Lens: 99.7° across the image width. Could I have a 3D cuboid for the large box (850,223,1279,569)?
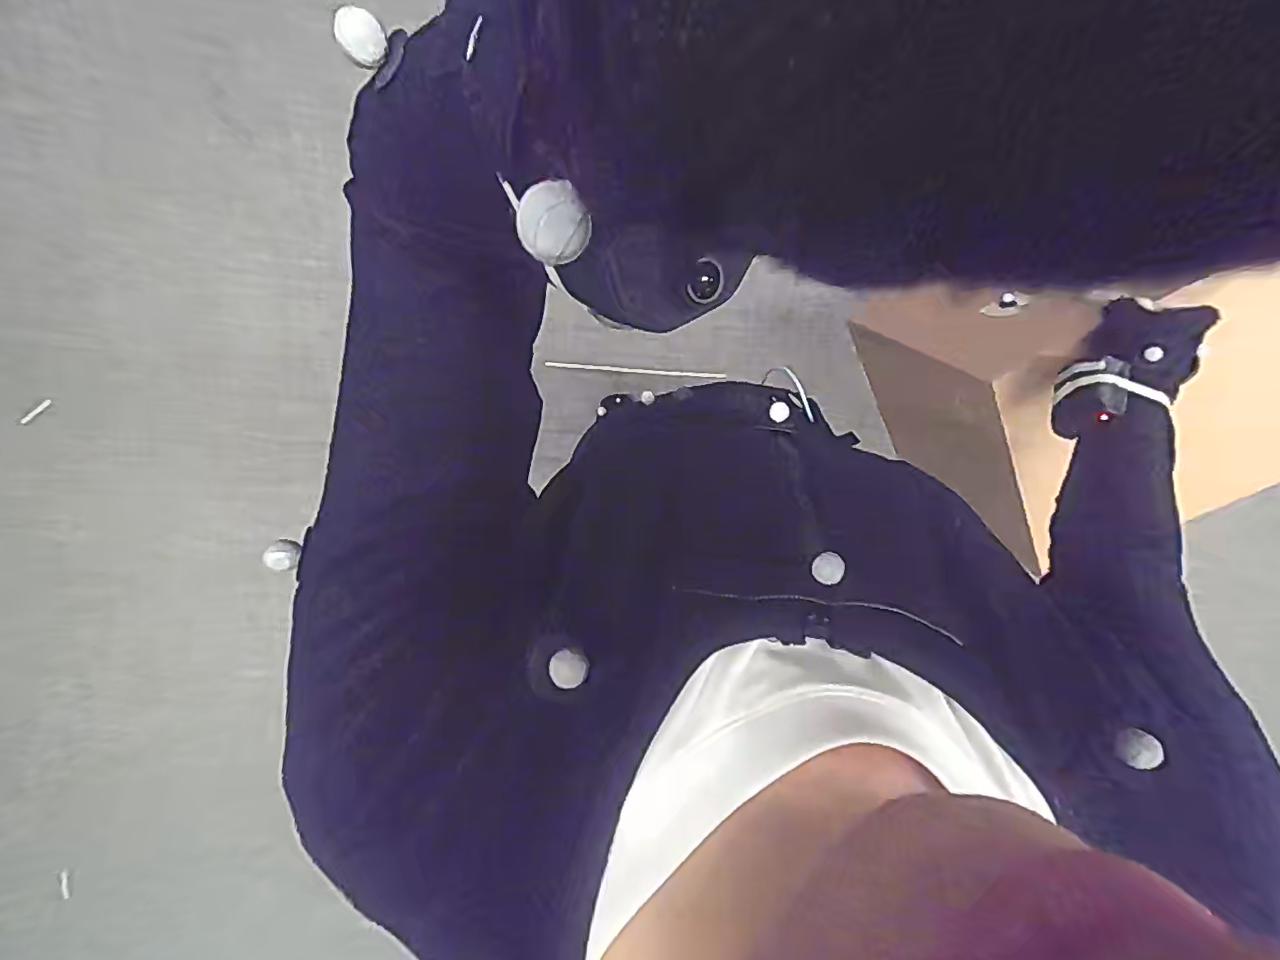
[{"bbox_3d":[0.575,-0.147,0.795,0.320,0.408,0.320,-28,116,10],"label":"large box"}]
